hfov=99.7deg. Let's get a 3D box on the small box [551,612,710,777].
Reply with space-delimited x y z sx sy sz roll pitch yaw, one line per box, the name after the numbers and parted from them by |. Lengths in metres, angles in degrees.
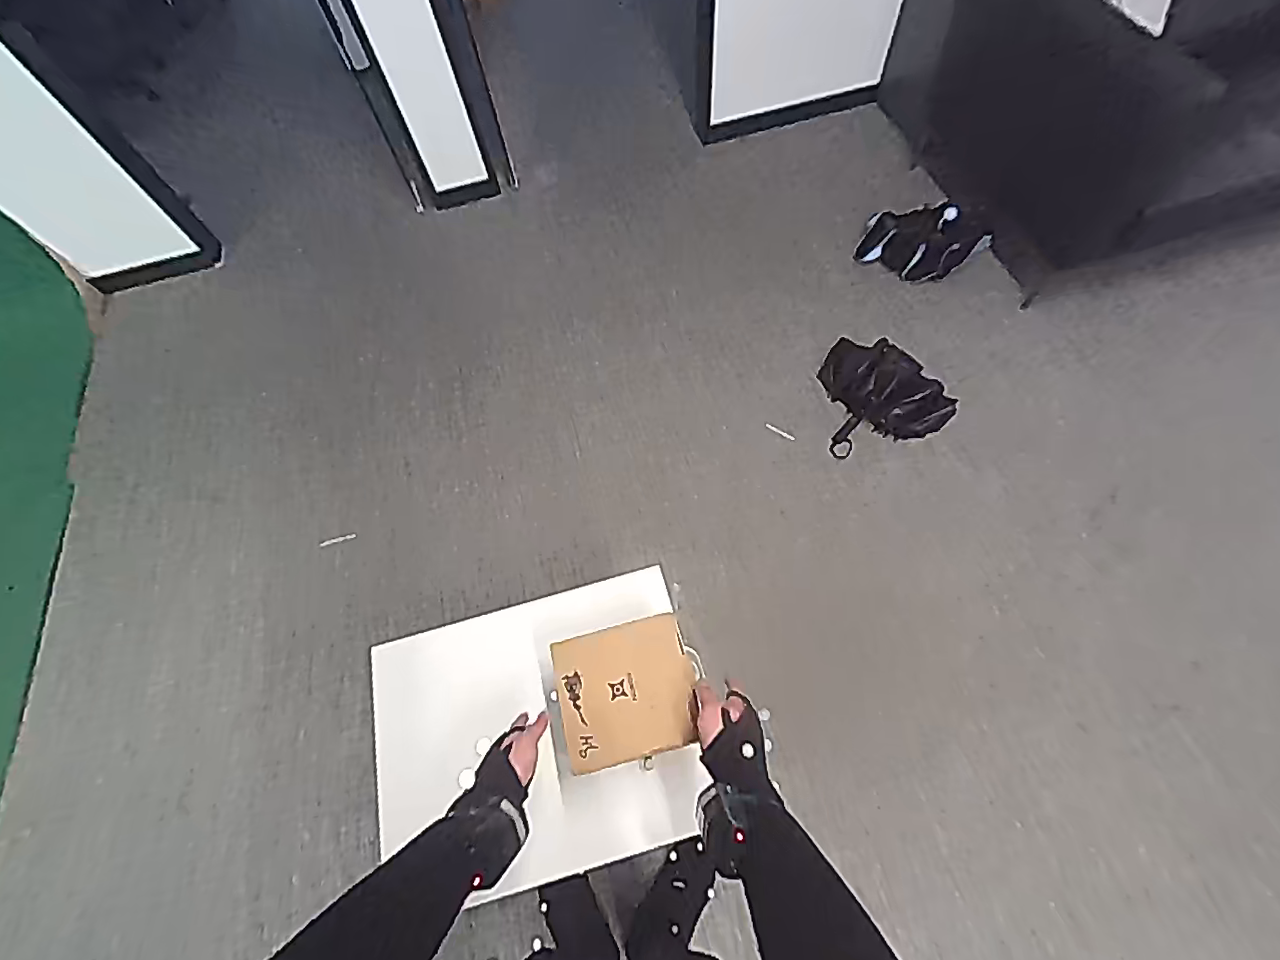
-0.016 0.300 0.755 0.179 0.176 0.168 -13 63 -6 | small box
